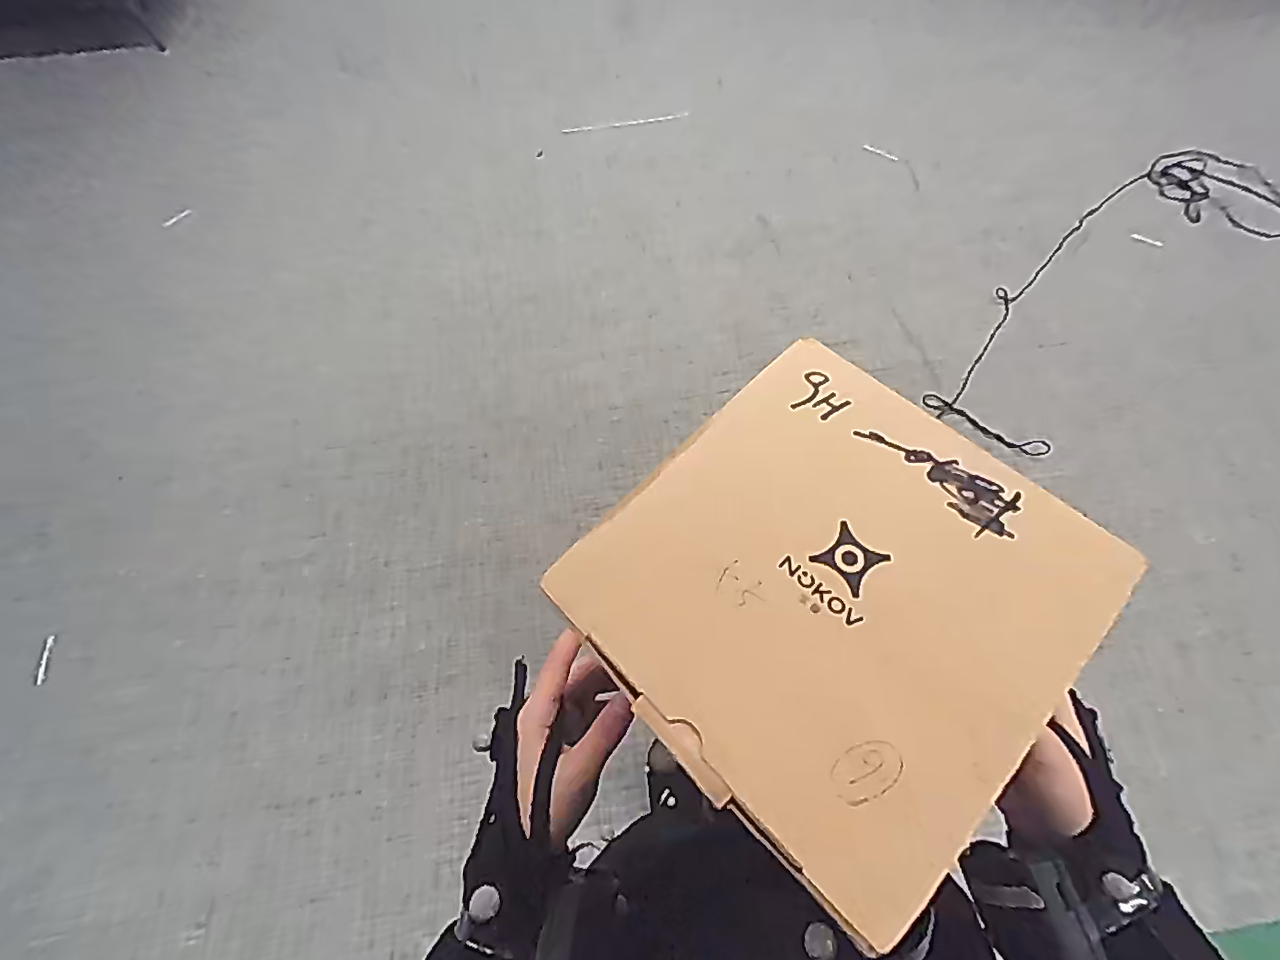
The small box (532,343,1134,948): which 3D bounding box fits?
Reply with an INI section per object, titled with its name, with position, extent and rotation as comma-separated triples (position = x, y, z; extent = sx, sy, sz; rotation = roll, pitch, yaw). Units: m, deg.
[small box]
position = 0.078, 0.073, 0.285
extent = 0.179, 0.176, 0.168
rotation = -42, 68, -14
